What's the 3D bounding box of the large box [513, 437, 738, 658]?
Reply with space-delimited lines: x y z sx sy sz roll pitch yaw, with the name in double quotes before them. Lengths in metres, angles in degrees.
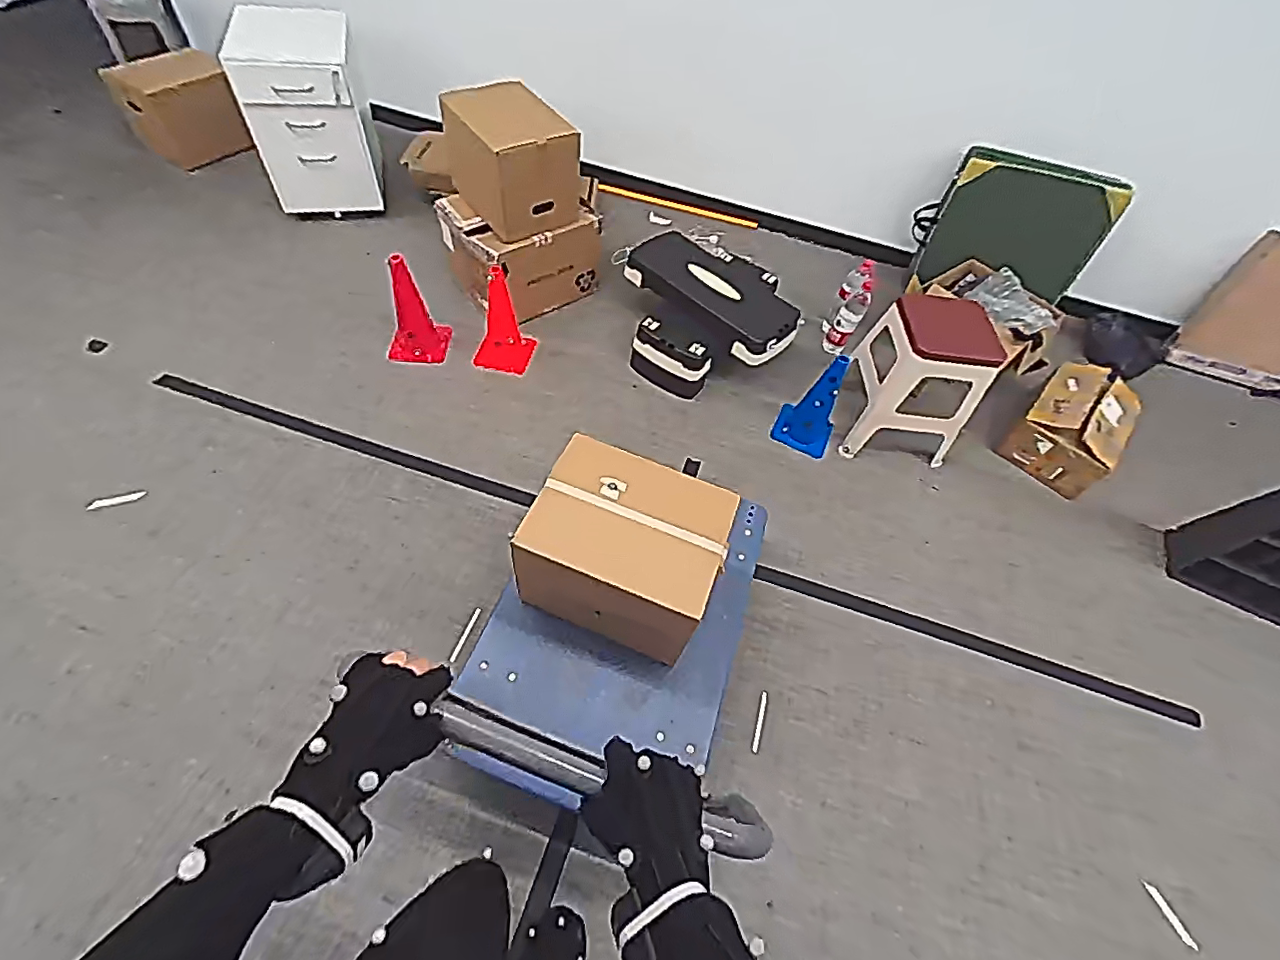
"large box" -0.031 0.164 1.260 0.408 0.320 0.320 21 56 7
